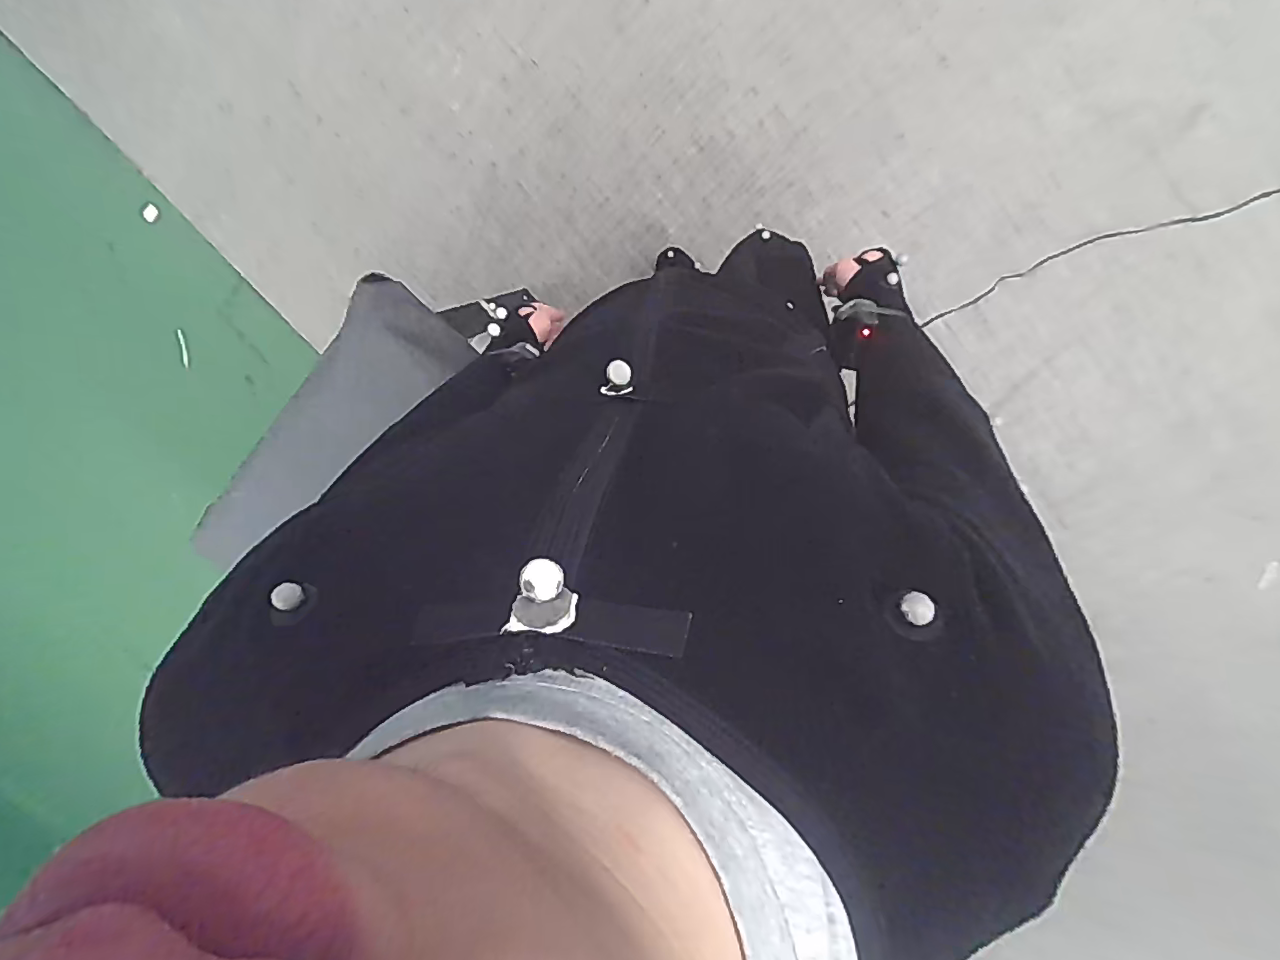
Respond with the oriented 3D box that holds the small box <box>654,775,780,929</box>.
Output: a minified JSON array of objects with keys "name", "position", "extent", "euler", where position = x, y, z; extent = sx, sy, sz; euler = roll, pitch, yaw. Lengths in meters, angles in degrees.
[{"name":"small box","position":[0.146,0.724,1.065],"extent":[0.179,0.176,0.168],"euler":[-41,103,21]}]

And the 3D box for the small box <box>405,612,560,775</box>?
[{"name":"small box","position":[-0.268,0.373,0.962],"extent":[0.179,0.176,0.168],"euler":[-39,104,20]}]
